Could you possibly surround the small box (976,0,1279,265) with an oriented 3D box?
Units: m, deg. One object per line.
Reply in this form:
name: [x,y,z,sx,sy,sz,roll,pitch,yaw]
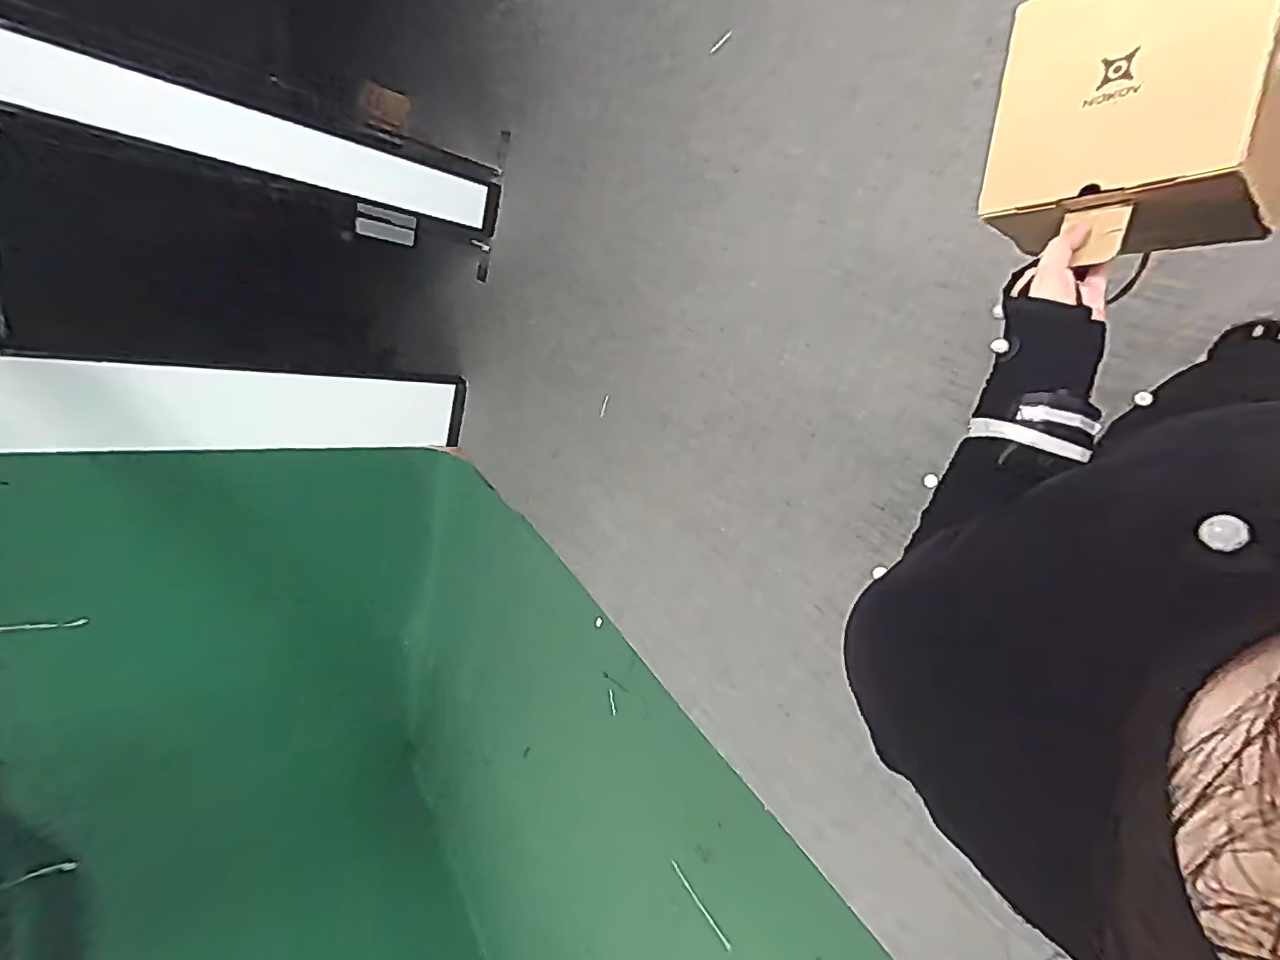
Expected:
small box: [0.433,-0.306,0.473,0.168,0.176,0.179,18,104,53]
